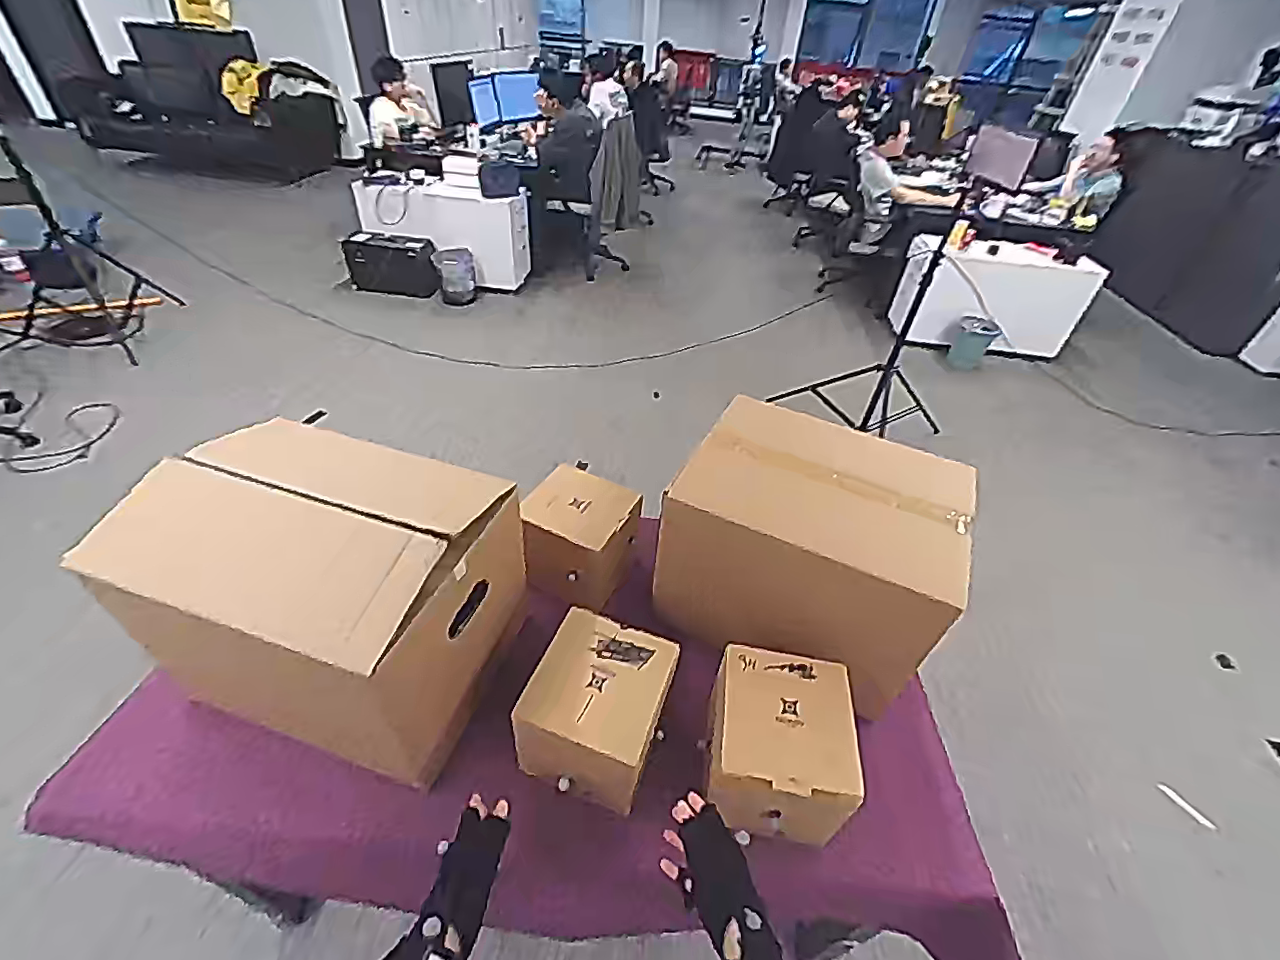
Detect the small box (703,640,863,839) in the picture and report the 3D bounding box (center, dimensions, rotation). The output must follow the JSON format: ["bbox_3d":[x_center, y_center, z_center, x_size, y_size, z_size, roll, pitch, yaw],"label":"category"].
[{"bbox_3d":[0.181,0.350,0.727,0.168,0.176,0.179,10,41,4],"label":"small box"}]
